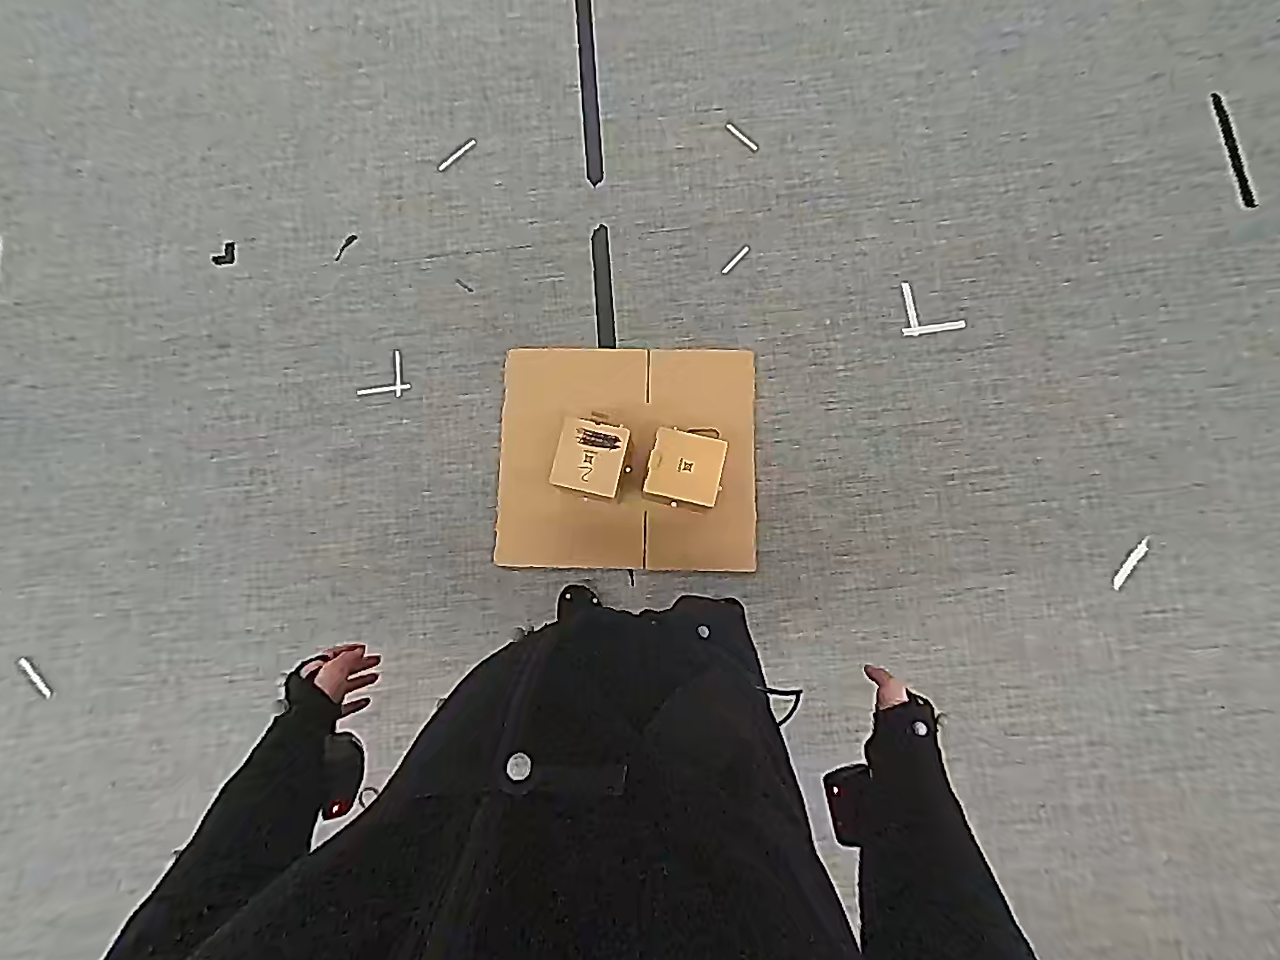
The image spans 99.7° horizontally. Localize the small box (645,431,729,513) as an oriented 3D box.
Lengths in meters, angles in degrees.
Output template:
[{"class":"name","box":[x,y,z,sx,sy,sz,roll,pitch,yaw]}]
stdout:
[{"class":"small box","box":[0.119,-0.014,1.388,0.179,0.176,0.168,12,82,5]}]
